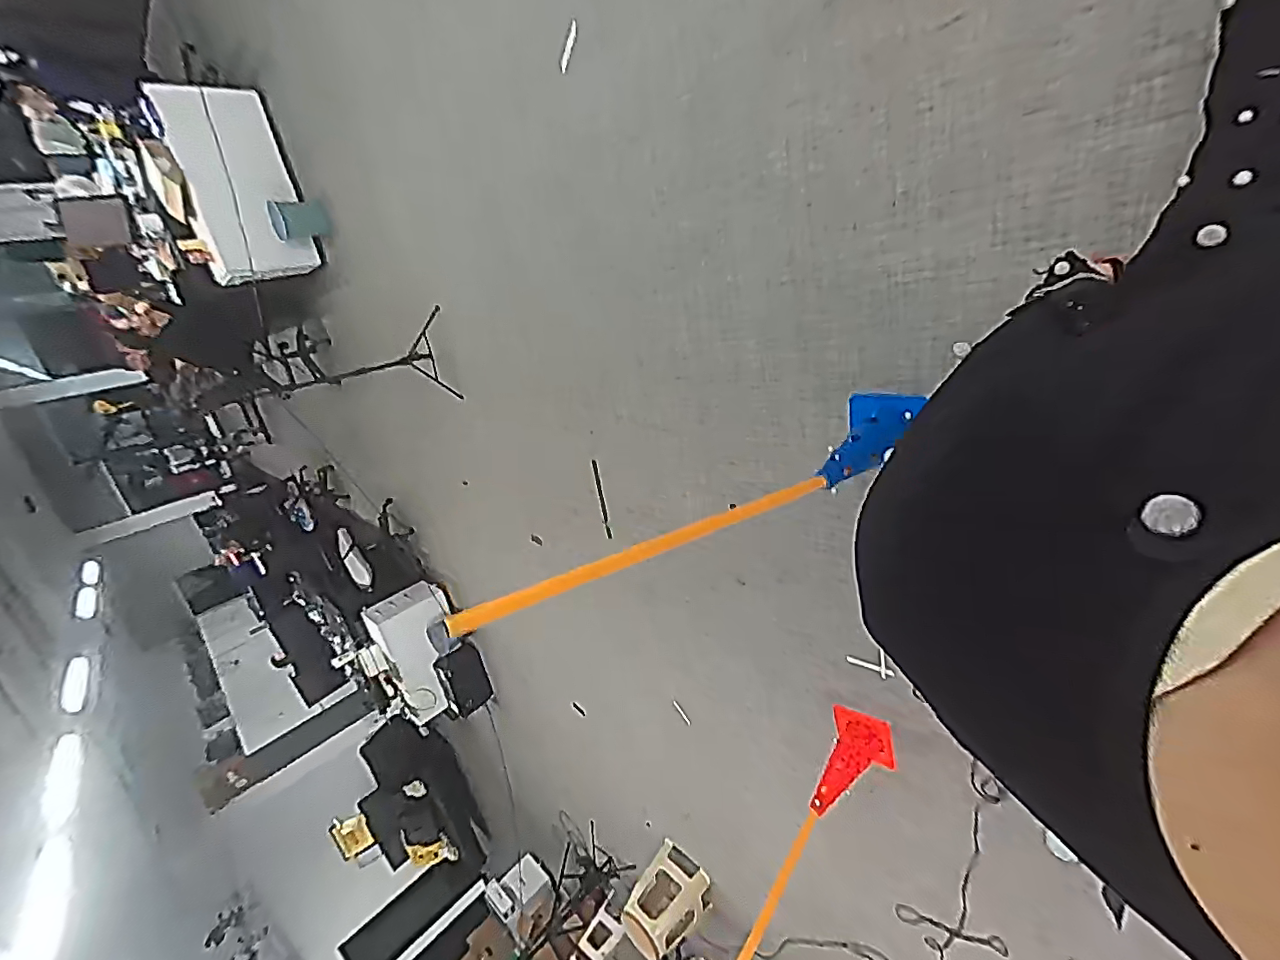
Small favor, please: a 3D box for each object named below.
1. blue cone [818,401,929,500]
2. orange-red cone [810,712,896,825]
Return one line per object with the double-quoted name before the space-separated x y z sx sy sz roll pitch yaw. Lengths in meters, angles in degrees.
"blue cone" 0.534 -0.051 1.301 0.193 0.380 0.192 13 121 44
"orange-red cone" 0.652 0.961 1.744 0.199 0.360 0.198 2 114 46
